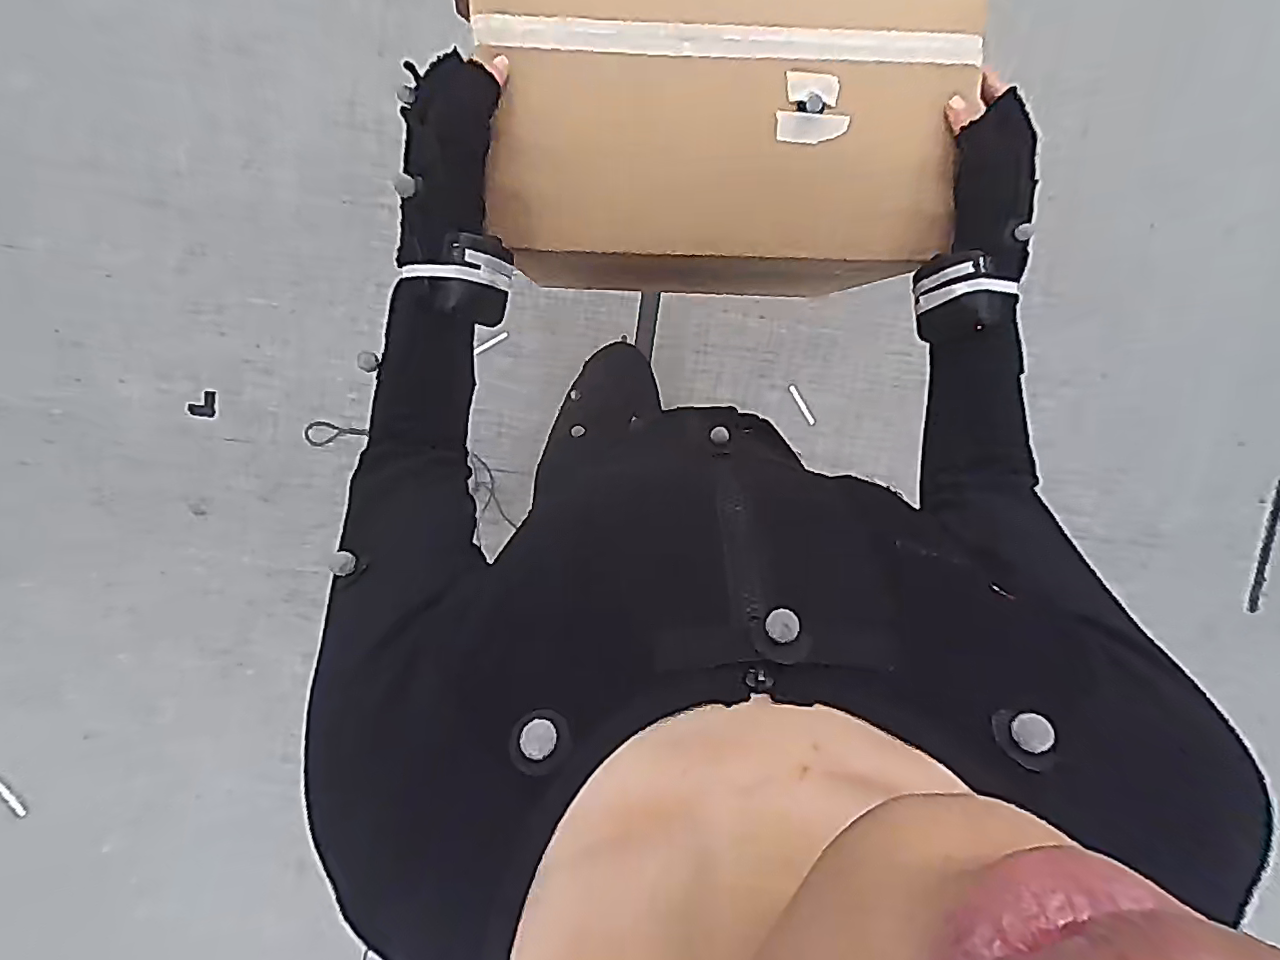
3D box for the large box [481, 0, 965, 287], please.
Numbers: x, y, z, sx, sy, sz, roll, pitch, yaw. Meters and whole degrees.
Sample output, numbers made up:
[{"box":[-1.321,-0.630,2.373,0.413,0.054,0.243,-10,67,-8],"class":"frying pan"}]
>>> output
[{"box":[0.061,-0.392,0.593,0.408,0.320,0.320,0,104,-3],"class":"large box"}]
